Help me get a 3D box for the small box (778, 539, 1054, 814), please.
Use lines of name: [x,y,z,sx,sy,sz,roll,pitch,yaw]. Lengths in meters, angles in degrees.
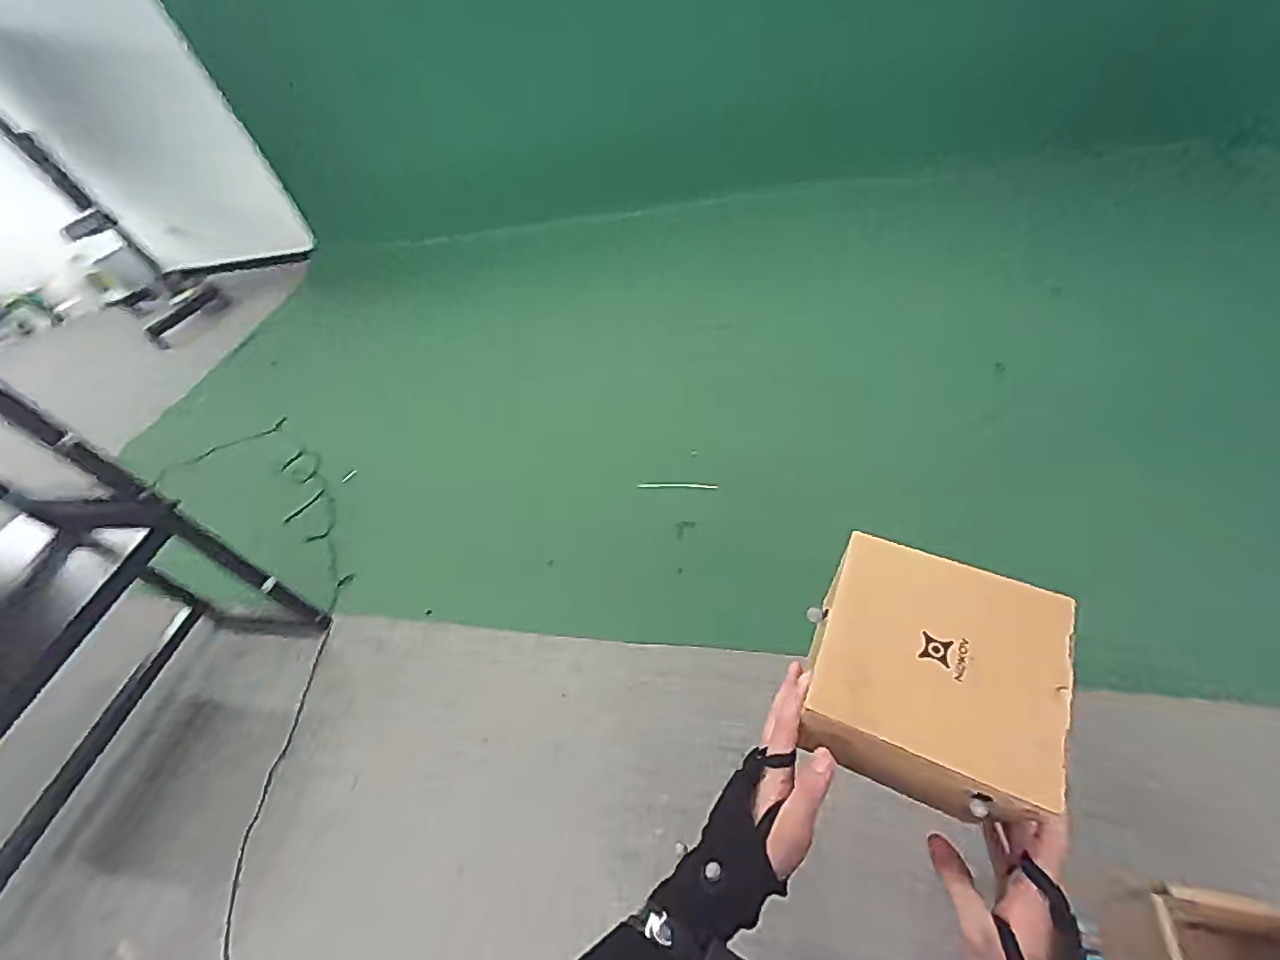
small box: [0.234,0.183,0.492,0.179,0.176,0.168,17,61,18]
